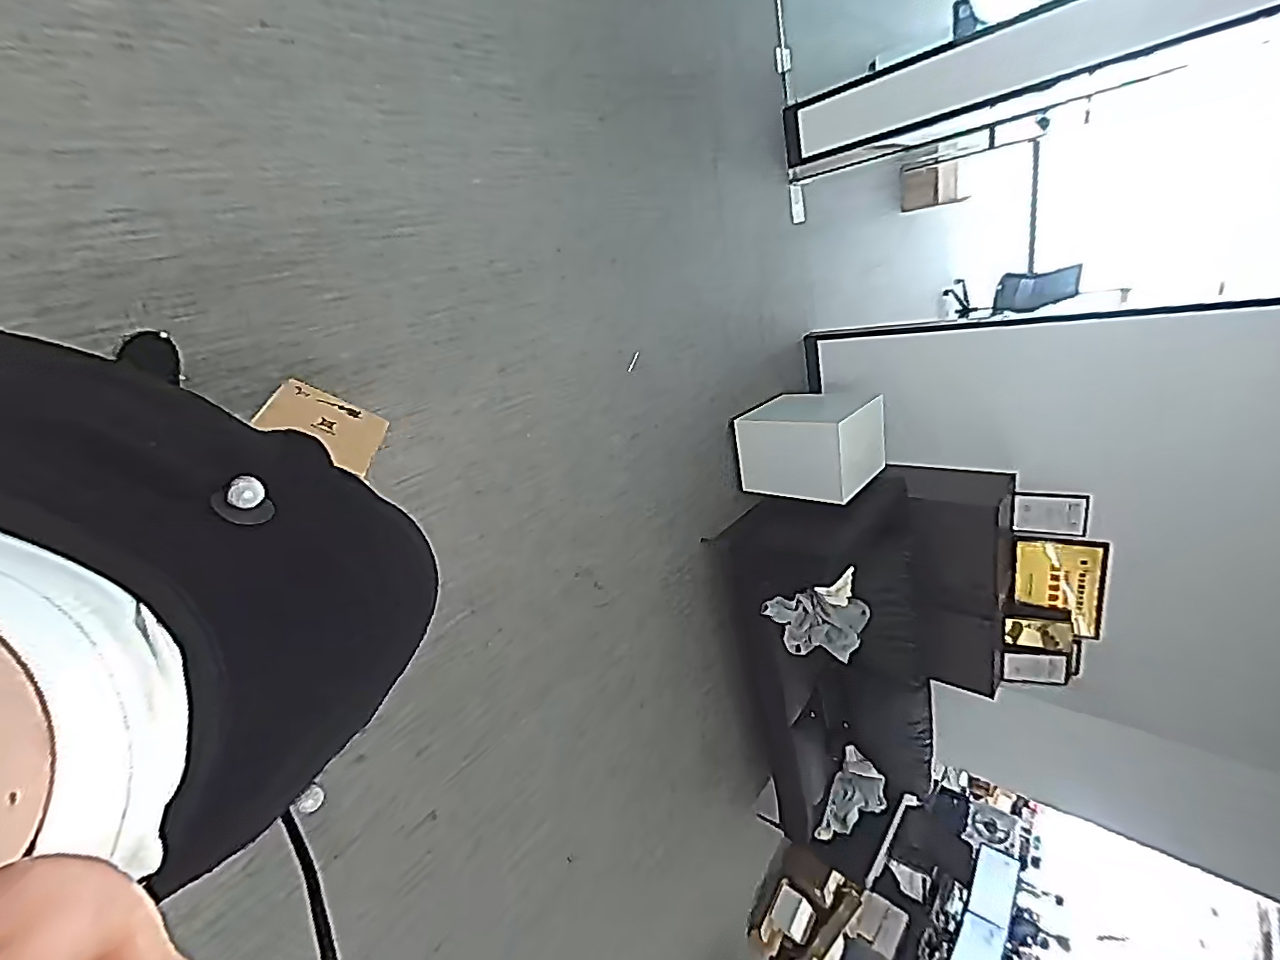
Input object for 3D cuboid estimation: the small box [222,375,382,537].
[{"bbox_3d":[-0.549,-0.034,0.885,0.168,0.179,0.176,23,119,-28],"label":"small box"}]
